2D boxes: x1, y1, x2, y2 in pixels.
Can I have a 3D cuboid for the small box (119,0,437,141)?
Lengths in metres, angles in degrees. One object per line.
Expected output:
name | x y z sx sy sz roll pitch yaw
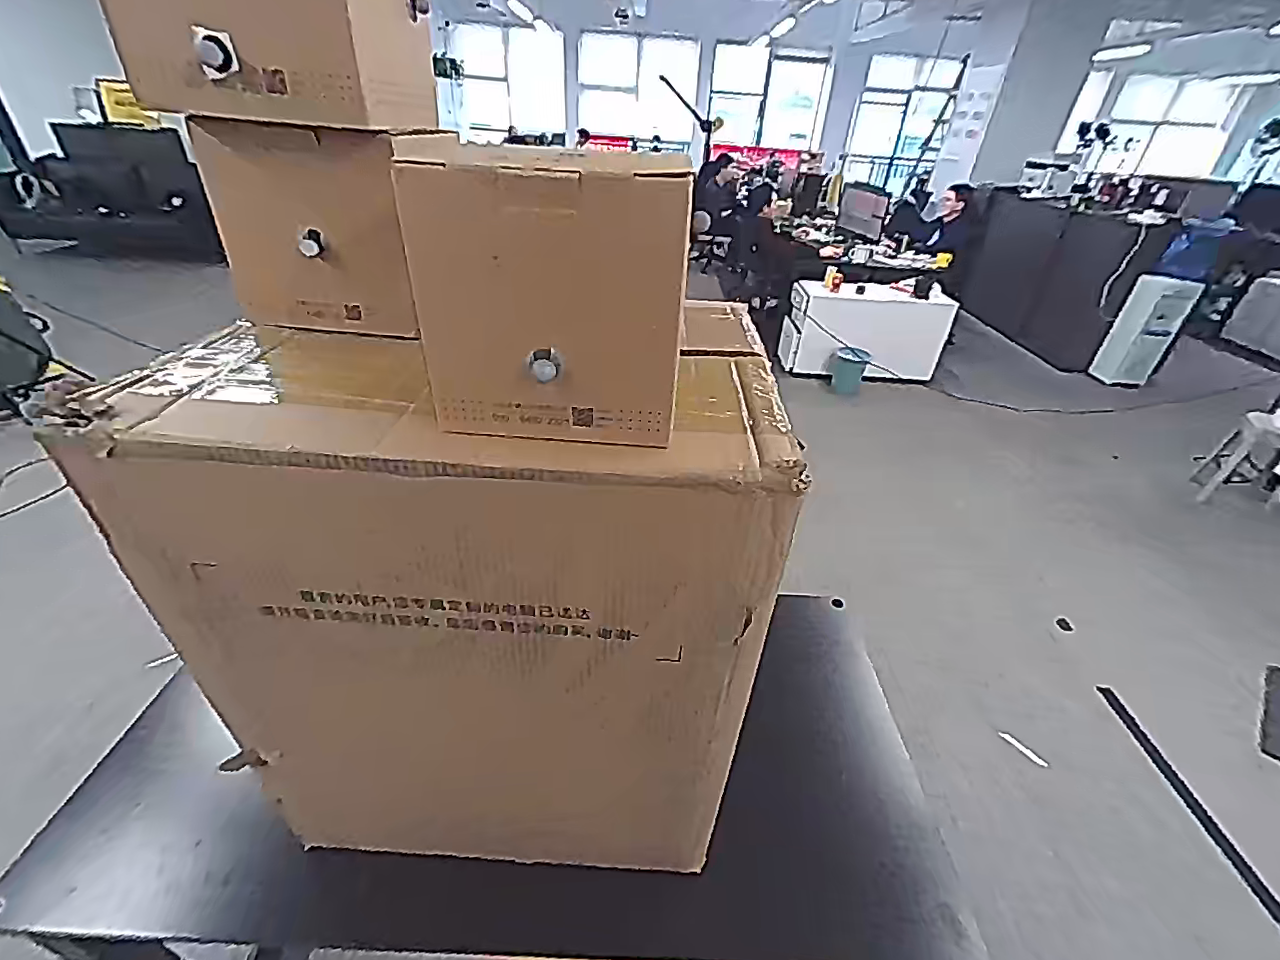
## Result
small box | -0.267 -0.369 0.416 0.168 0.176 0.179 2 34 -3

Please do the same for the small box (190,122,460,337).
small box | -0.274 -0.251 0.535 0.168 0.176 0.179 5 34 -1

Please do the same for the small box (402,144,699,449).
small box | -0.047 -0.142 0.400 0.168 0.176 0.179 4 35 2
